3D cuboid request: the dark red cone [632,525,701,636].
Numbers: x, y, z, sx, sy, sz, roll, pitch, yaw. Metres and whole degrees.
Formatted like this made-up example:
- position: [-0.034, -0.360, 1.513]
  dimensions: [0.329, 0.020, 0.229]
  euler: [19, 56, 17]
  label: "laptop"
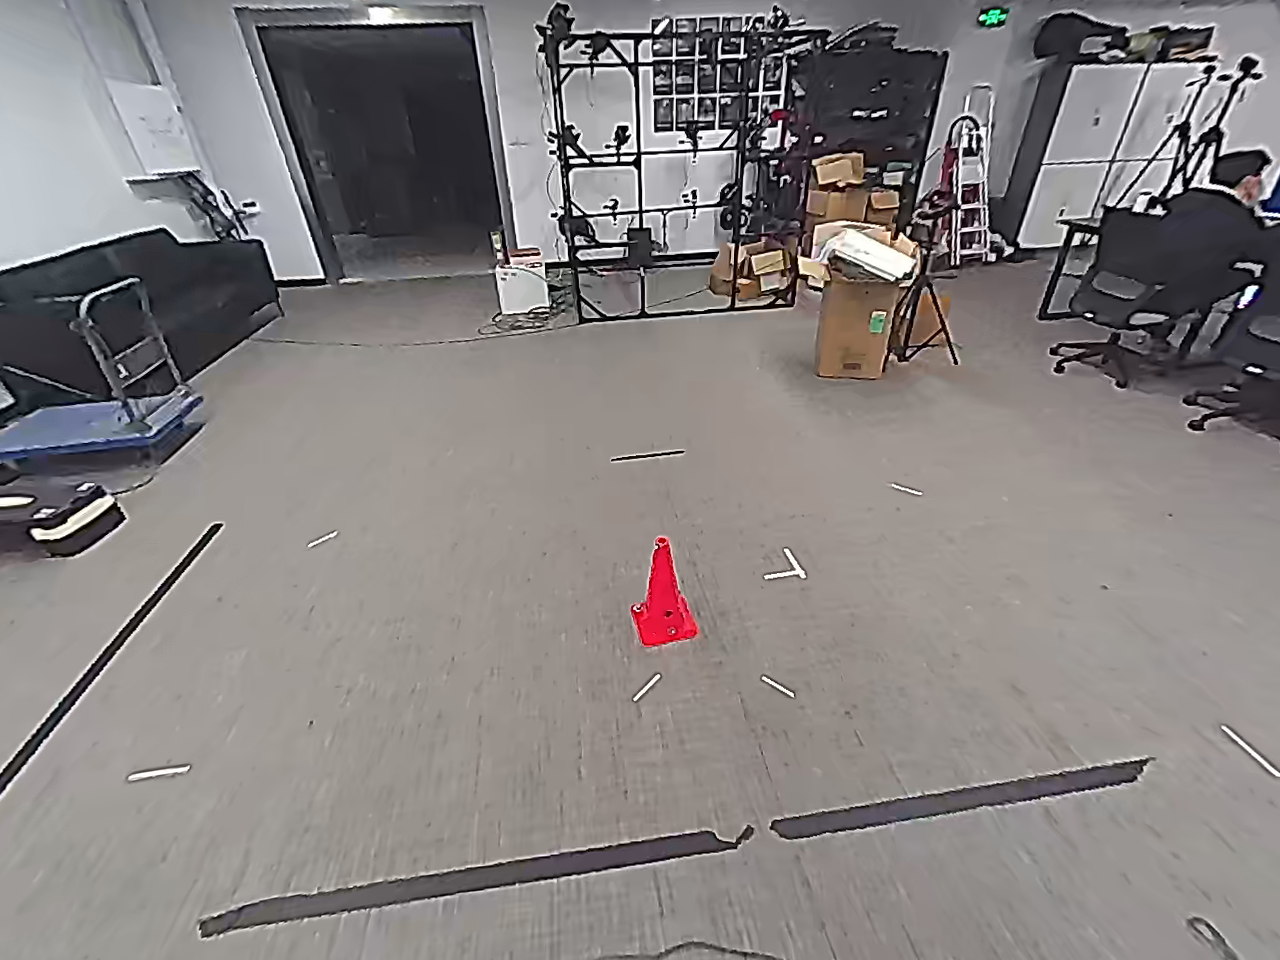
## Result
- position: [0.083, 0.309, 1.750]
  dimensions: [0.202, 0.394, 0.201]
  euler: [-10, 35, -12]
  label: "dark red cone"
